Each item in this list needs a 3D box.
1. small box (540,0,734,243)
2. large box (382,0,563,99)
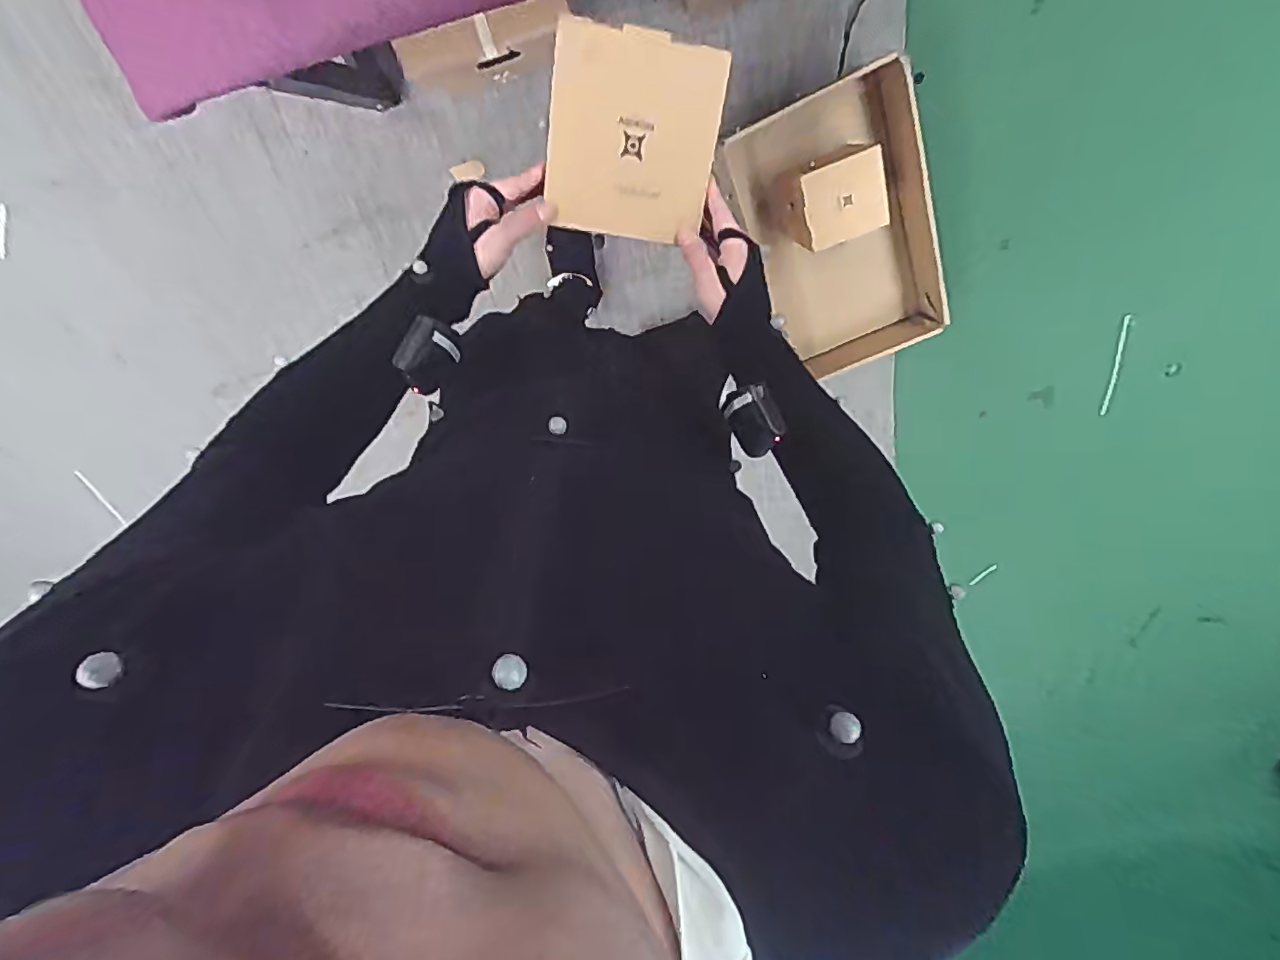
[{"bbox_3d":[-0.014,-0.369,0.591,0.168,0.176,0.179,7,114,-9],"label":"small box"},{"bbox_3d":[-0.316,-0.998,0.994,0.320,0.320,0.408,-14,119,5],"label":"large box"}]
